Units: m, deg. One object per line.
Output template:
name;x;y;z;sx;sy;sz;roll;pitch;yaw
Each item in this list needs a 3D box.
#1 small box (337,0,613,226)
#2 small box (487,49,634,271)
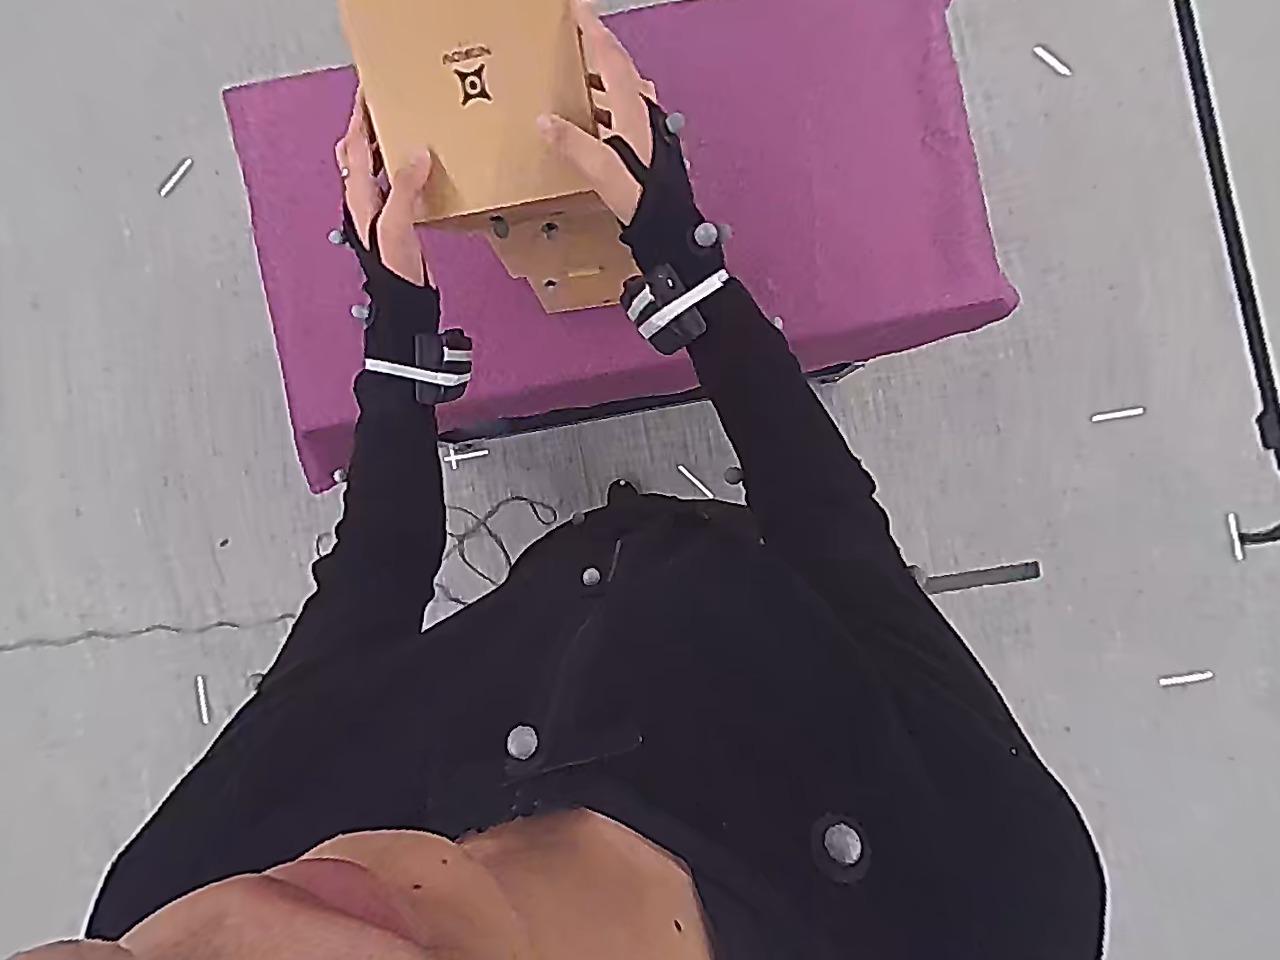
small box;-0.121;-0.326;0.467;0.168;0.176;0.179;-8;110;5
small box;-0.105;-0.374;0.665;0.179;0.176;0.168;-7;89;1
